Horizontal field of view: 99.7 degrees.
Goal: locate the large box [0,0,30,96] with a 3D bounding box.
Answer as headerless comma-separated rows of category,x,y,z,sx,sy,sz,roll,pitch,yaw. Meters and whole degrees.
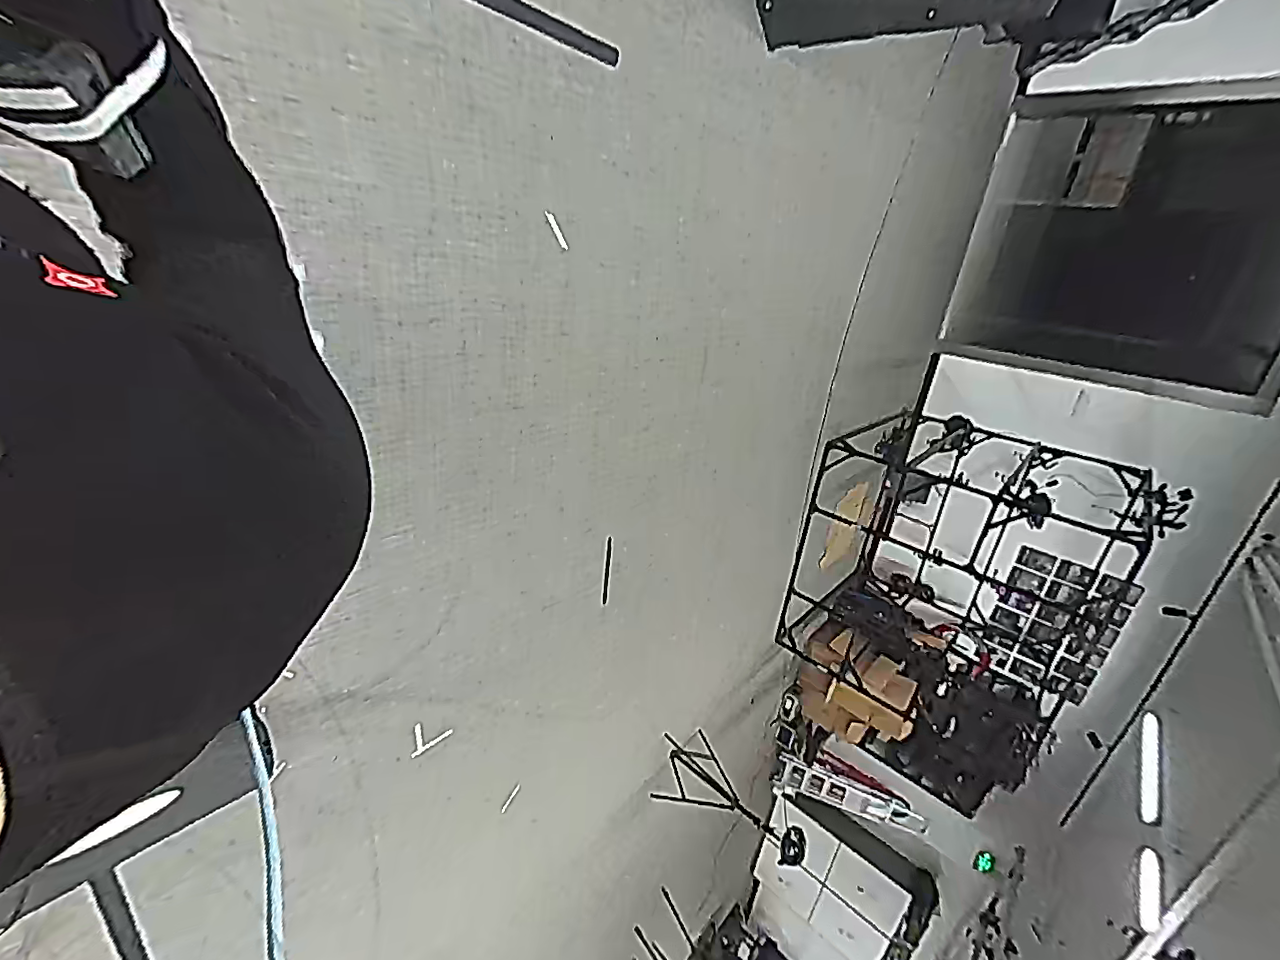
large box,-1.046,-0.667,0.604,0.408,0.320,0.320,-22,127,-46
